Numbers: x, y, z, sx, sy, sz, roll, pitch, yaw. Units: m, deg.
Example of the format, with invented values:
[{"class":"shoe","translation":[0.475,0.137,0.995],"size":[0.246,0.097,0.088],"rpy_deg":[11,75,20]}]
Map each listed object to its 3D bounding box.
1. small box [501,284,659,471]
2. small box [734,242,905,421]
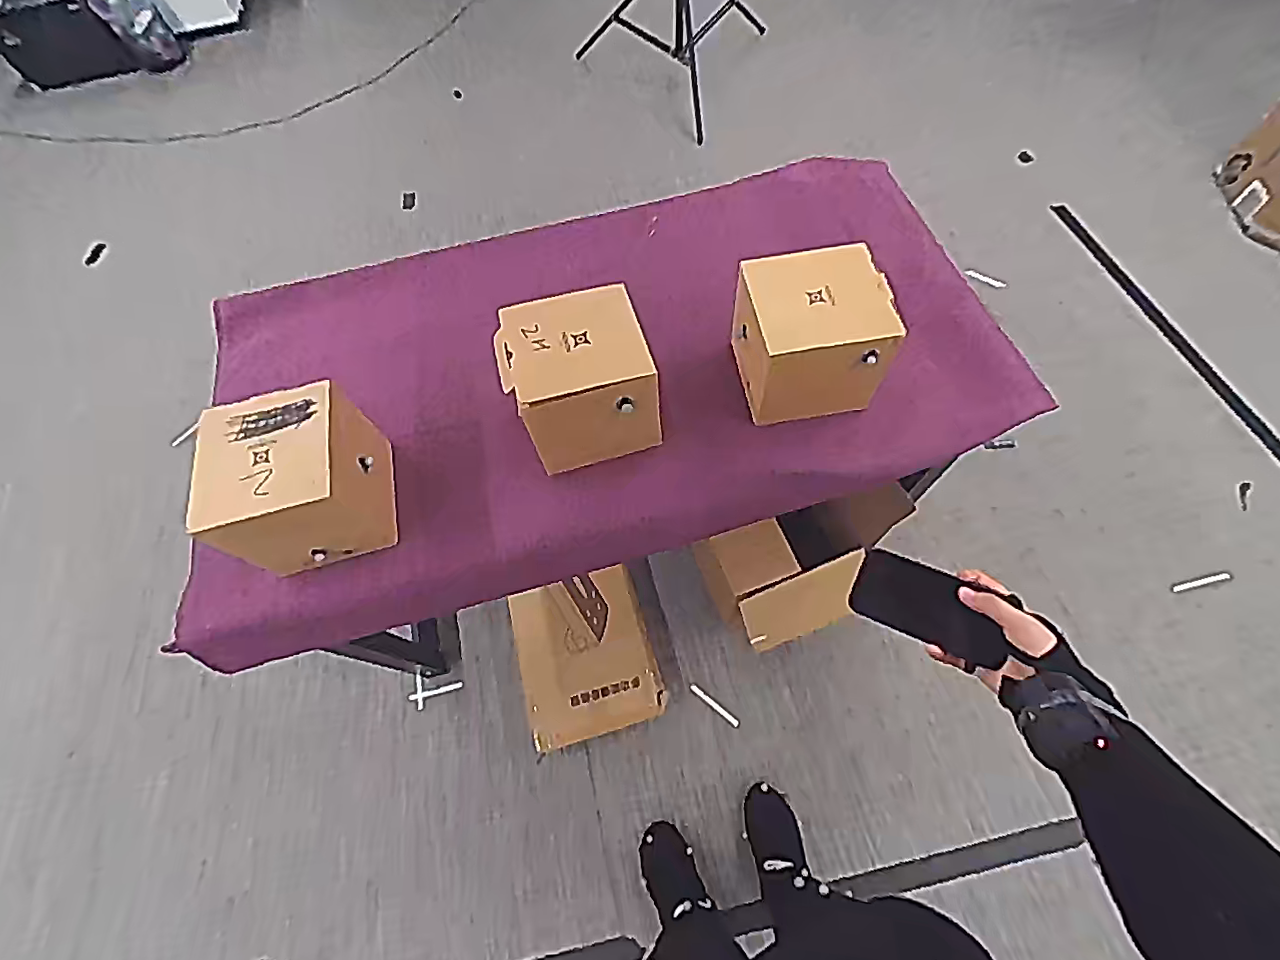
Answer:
[{"class":"small box","translation":[-0.077,-0.136,0.756],"size":[0.179,0.176,0.168],"rpy_deg":[-16,61,-4]},{"class":"small box","translation":[0.235,-0.201,0.766],"size":[0.179,0.176,0.168],"rpy_deg":[-9,63,-1]}]
